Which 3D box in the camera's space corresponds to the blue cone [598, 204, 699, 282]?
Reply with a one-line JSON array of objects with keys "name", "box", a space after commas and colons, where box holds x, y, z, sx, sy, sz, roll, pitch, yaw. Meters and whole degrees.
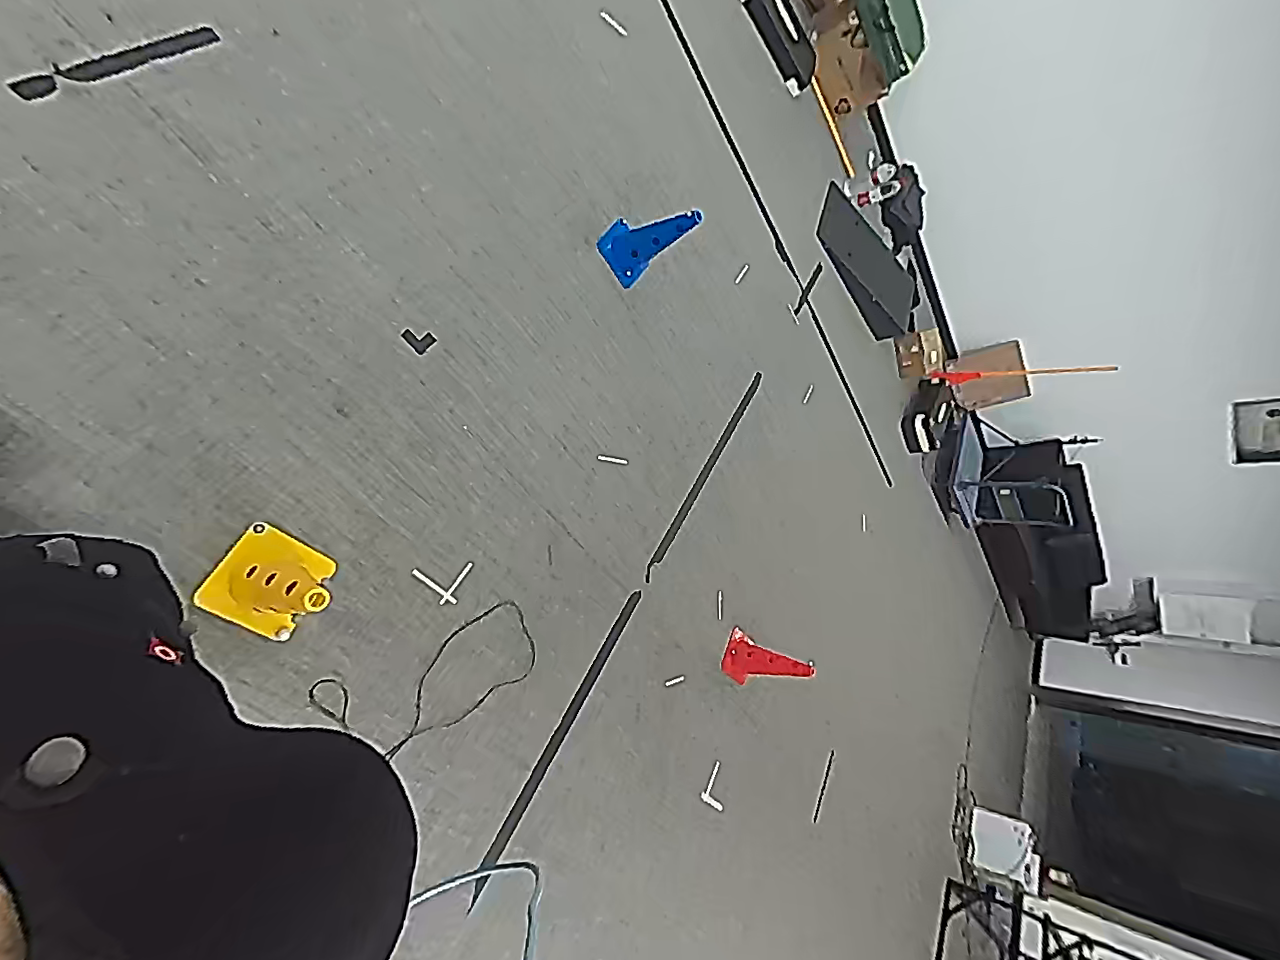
[{"name": "blue cone", "box": [0.053, -0.854, 1.875, 0.192, 0.380, 0.193, 52, 54, -29]}]

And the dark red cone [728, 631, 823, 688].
[{"name": "dark red cone", "box": [0.576, 0.783, 2.258, 0.201, 0.394, 0.202, 44, 58, -33]}]
